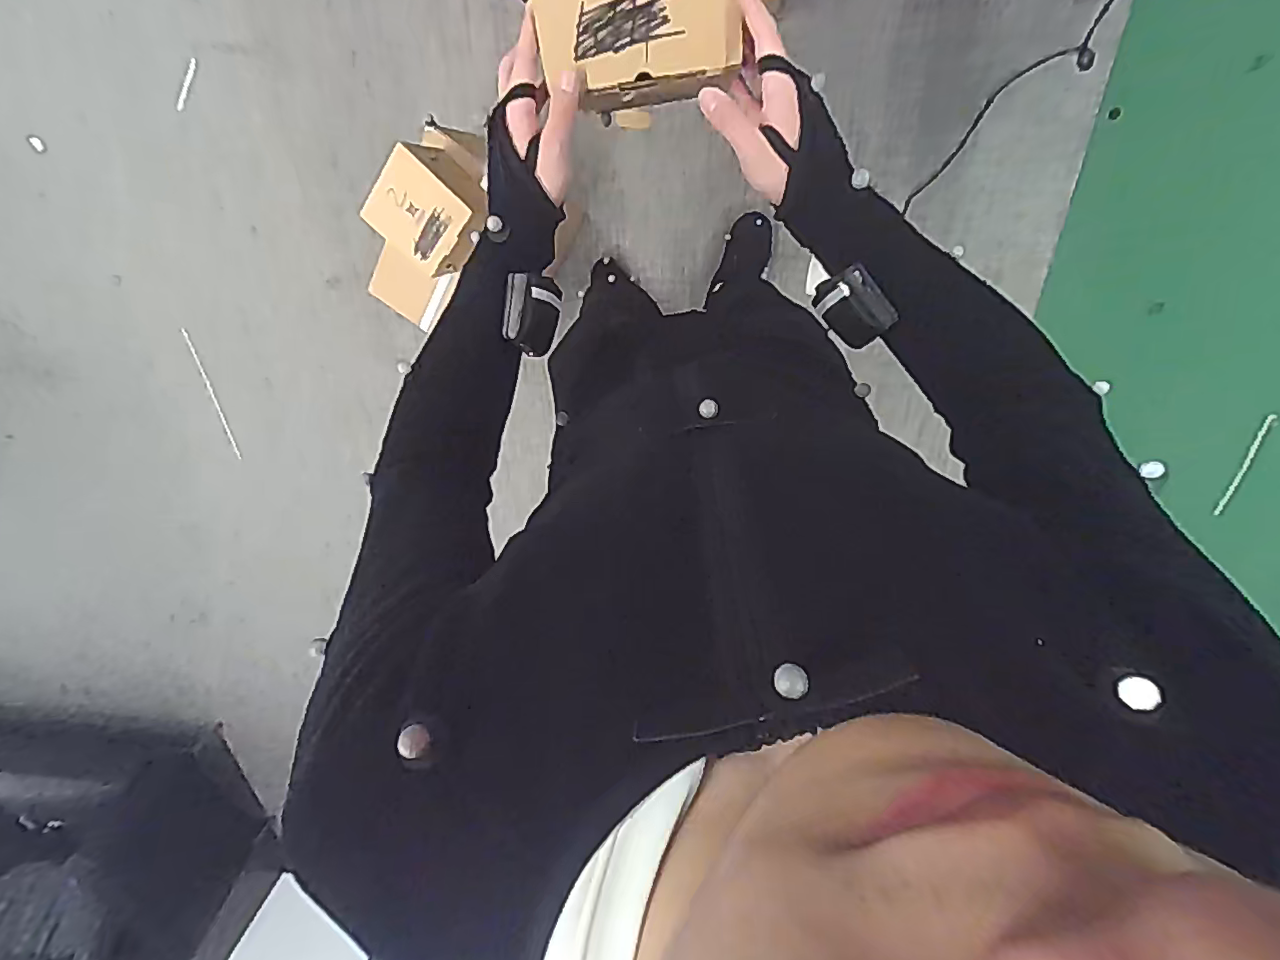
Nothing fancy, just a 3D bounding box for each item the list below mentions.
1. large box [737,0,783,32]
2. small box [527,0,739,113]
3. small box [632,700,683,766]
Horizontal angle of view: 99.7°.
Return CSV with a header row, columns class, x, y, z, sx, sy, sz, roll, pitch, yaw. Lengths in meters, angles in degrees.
class,x,y,z,sx,sy,sz,roll,pitch,yaw
large box,0.118,-1.105,0.993,0.320,0.320,0.408,1,116,8
small box,-0.004,-0.435,0.470,0.168,0.176,0.179,-5,118,7
small box,0.073,0.986,2.118,0.179,0.176,0.168,-1,116,9
